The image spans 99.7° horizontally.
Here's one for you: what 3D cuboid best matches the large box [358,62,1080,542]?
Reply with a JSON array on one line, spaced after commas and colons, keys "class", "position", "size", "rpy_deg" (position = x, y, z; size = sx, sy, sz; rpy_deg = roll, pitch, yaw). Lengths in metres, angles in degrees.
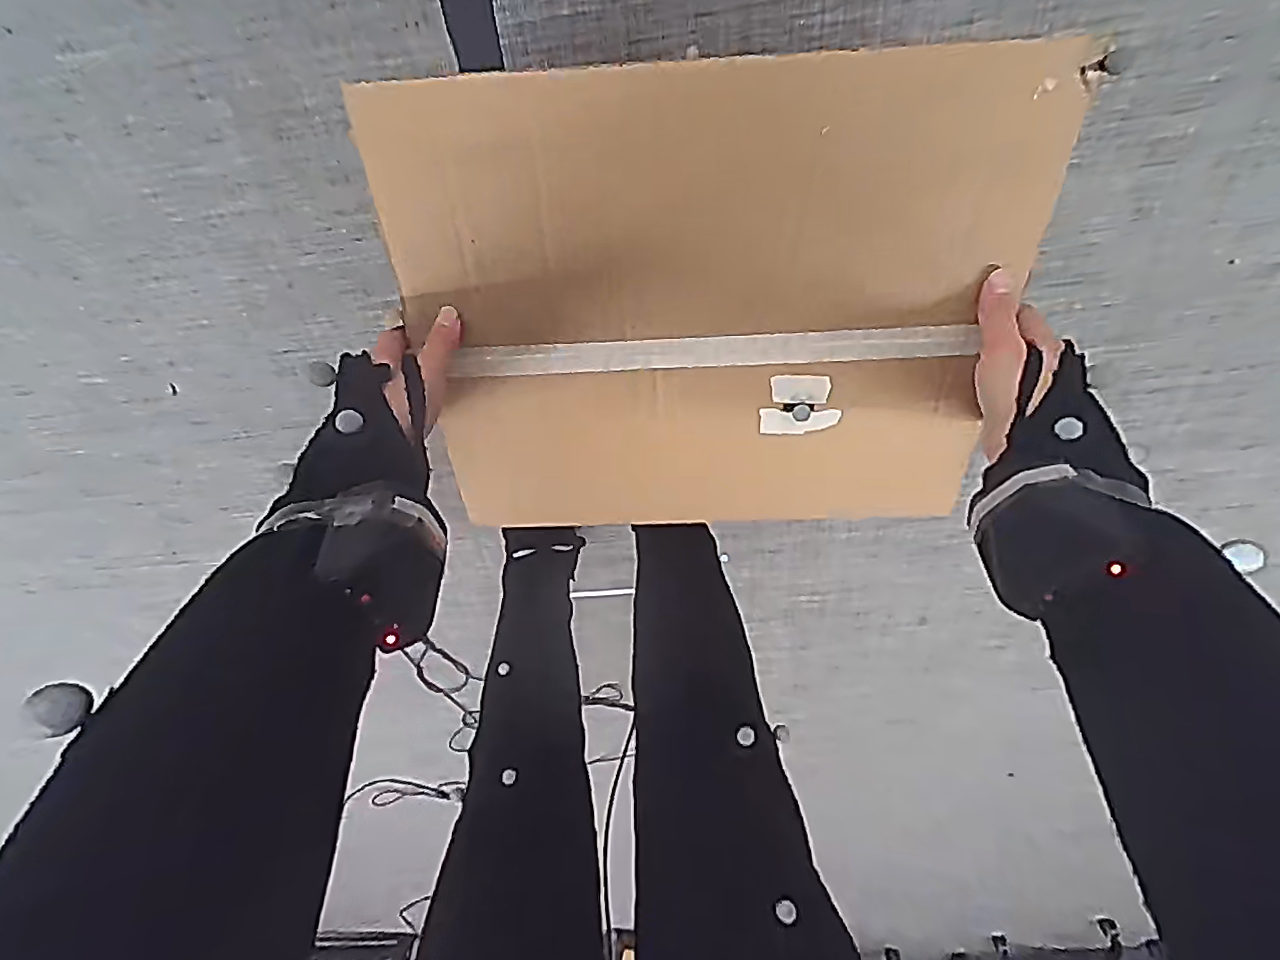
[{"class": "large box", "position": [0.045, -0.165, 0.499], "size": [0.408, 0.320, 0.320], "rpy_deg": [-2, 125, 2]}]
